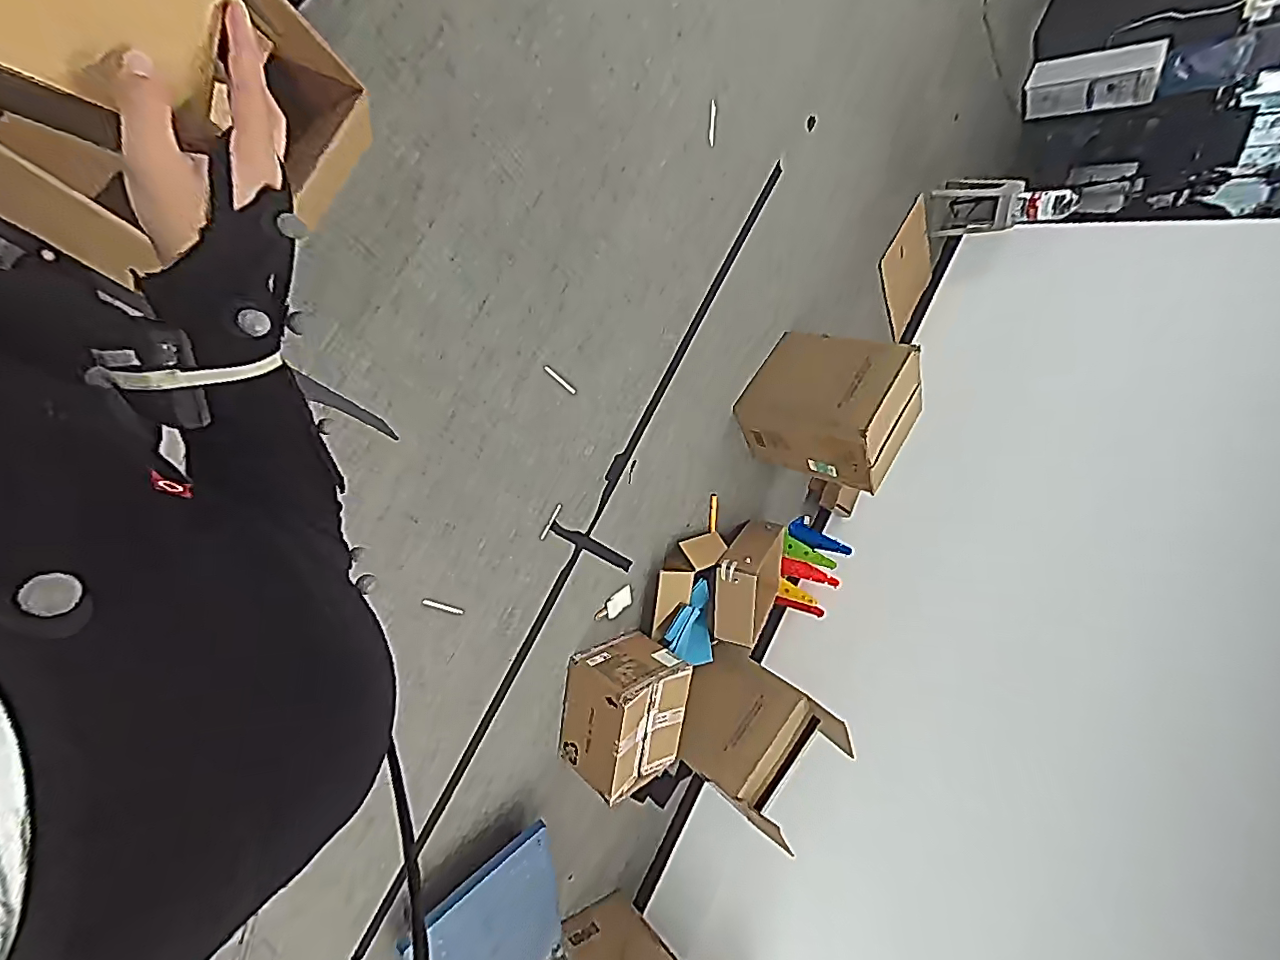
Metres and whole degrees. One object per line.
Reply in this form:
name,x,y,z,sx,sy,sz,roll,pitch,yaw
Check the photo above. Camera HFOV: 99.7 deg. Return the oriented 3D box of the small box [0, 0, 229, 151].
small box,-0.327,-0.292,0.271,0.179,0.176,0.168,6,104,-47
